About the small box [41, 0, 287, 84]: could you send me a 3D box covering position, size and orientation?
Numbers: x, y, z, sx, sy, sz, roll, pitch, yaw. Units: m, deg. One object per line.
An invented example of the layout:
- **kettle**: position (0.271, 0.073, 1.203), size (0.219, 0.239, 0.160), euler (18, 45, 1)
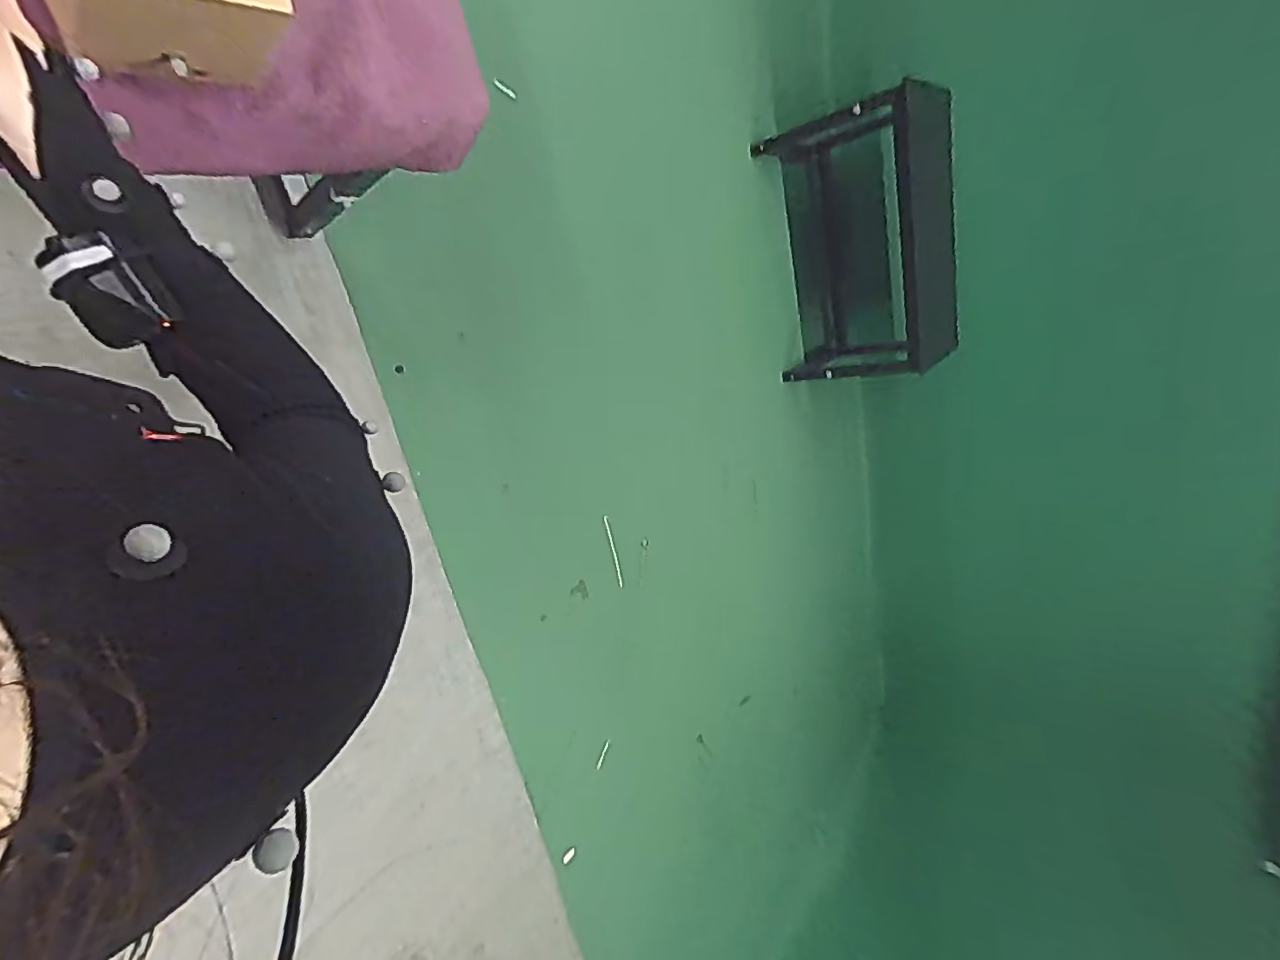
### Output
- **small box**: position (-0.483, -0.525, 0.518), size (0.168, 0.176, 0.179), euler (-29, 114, -42)
